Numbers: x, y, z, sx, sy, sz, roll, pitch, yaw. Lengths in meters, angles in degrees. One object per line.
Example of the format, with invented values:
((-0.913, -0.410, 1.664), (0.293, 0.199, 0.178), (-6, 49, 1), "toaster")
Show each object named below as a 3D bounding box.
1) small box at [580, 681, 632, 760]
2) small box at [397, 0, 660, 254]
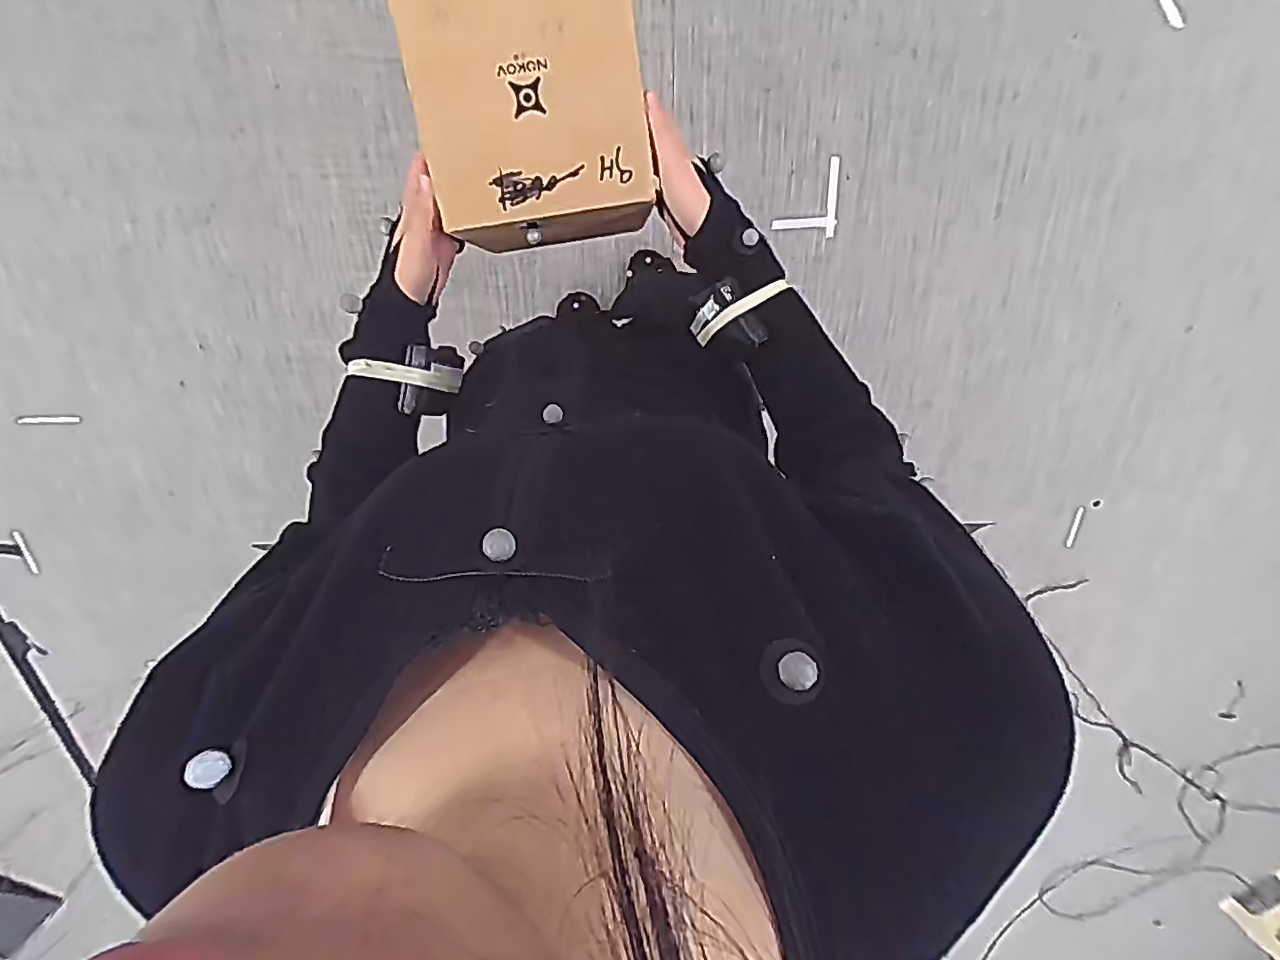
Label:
((-0.111, 0.797, 1.802), (0.168, 0.176, 0.179), (-3, 112, -2), "small box")
((-0.082, -0.304, 0.460), (0.168, 0.176, 0.179), (-9, 108, -1), "small box")
